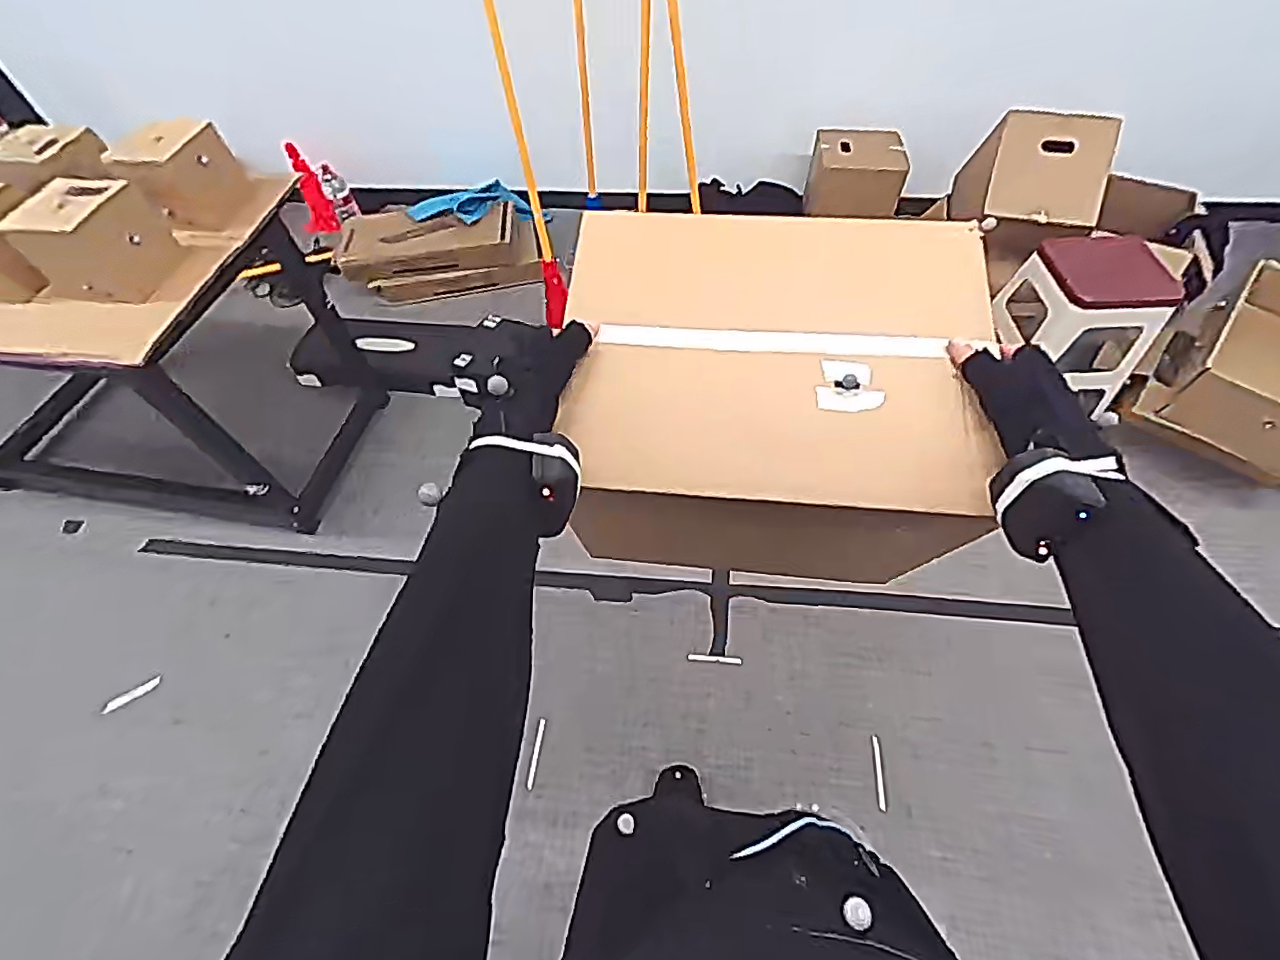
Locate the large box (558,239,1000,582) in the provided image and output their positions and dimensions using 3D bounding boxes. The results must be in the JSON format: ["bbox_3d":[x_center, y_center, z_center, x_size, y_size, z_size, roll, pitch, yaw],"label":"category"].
[{"bbox_3d":[0.137,-0.062,0.675,0.408,0.320,0.320,4,71,4],"label":"large box"}]
